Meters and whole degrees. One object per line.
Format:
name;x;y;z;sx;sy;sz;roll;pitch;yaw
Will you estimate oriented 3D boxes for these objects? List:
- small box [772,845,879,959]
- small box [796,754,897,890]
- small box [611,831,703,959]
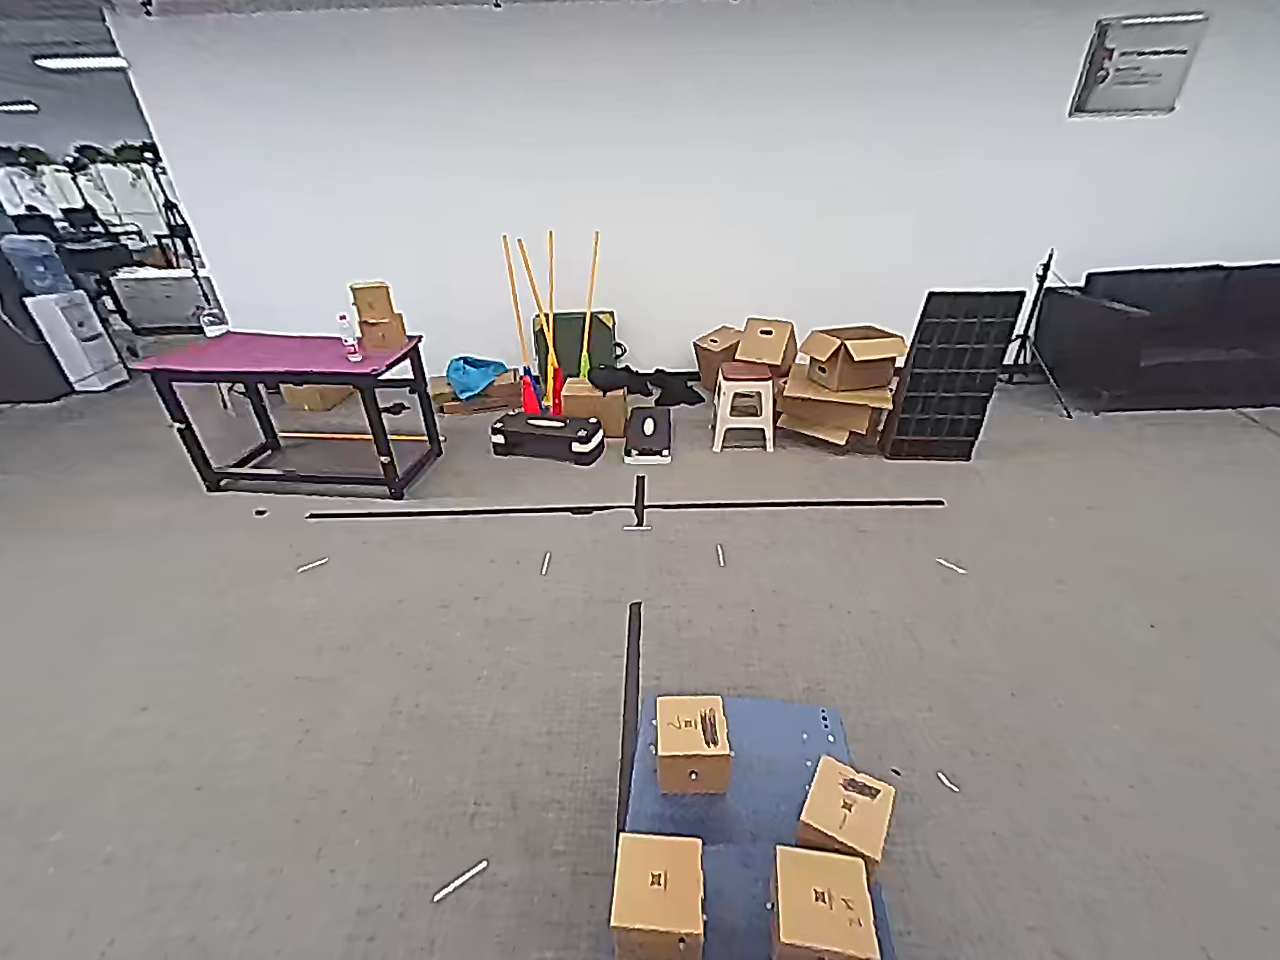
small box;0.355;0.866;1.070;0.179;0.176;0.168;3;31;10
small box;0.462;0.775;1.219;0.168;0.176;0.179;16;36;29
small box;0.040;0.856;1.109;0.179;0.176;0.168;2;31;4
